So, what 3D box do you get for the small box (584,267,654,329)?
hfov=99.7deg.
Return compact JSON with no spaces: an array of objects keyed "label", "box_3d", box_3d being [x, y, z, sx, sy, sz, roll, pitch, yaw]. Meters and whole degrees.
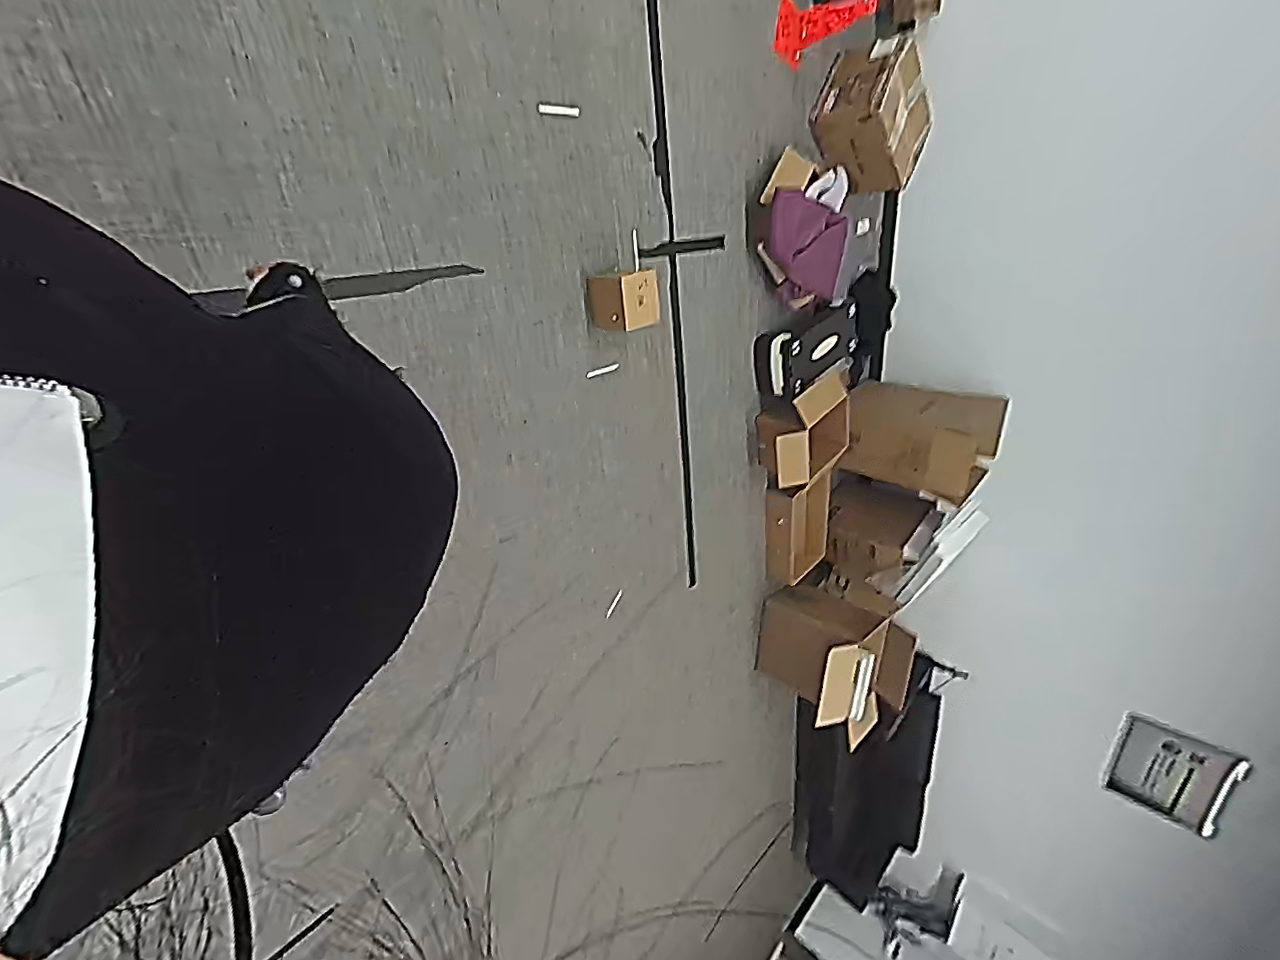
[{"label":"small box","box_3d":[-0.071,-0.632,1.865,0.168,0.176,0.179,-29,124,-37]}]
